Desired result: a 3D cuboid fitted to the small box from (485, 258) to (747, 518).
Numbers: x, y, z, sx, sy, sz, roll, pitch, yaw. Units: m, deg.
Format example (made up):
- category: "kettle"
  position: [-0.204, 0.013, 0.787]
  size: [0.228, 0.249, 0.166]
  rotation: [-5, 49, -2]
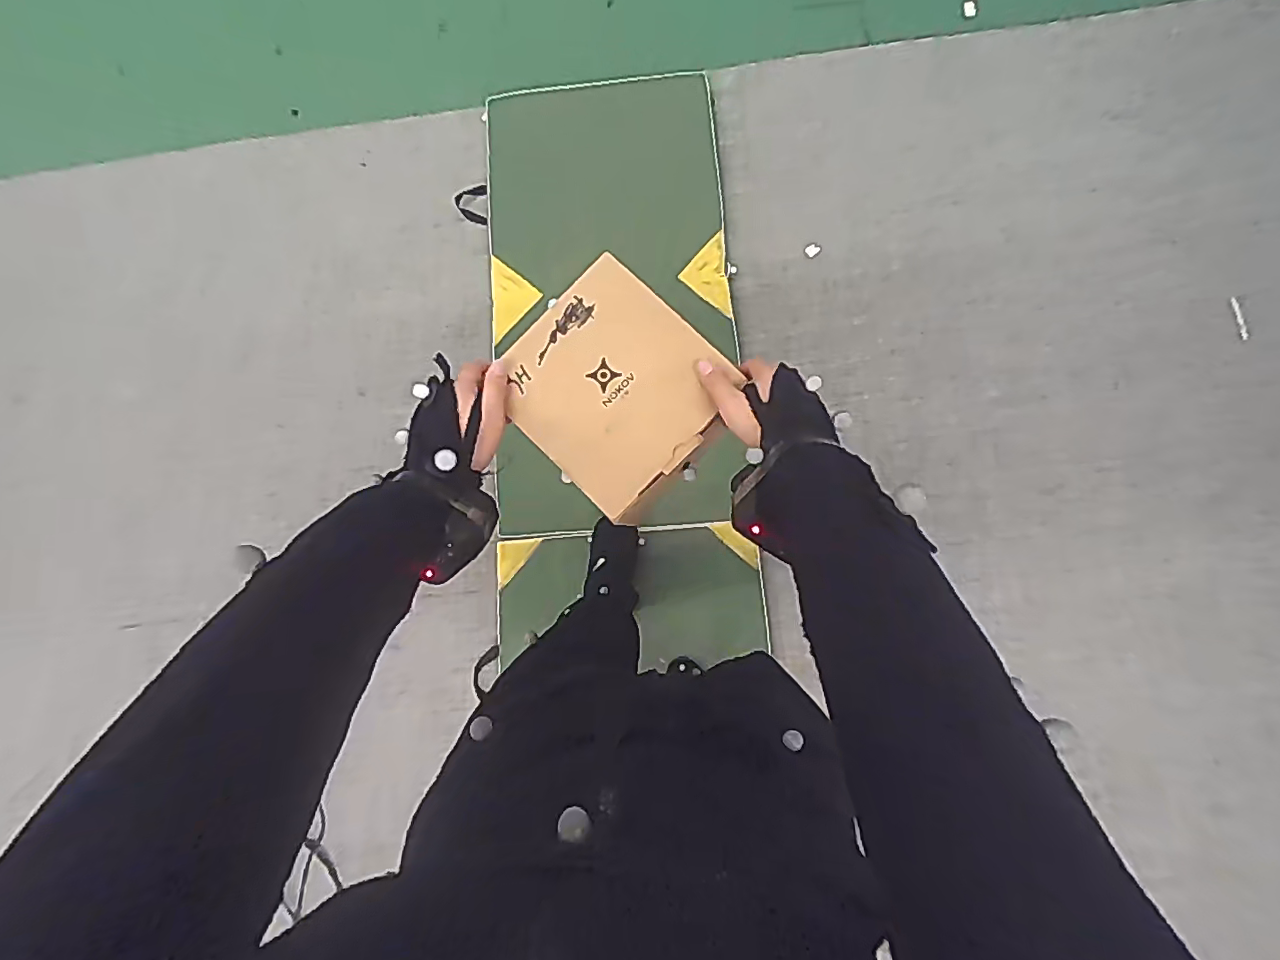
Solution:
- category: "small box"
  position: [-0.016, -0.078, 0.551]
  size: [0.168, 0.176, 0.179]
  rotation: [-45, 82, -1]
